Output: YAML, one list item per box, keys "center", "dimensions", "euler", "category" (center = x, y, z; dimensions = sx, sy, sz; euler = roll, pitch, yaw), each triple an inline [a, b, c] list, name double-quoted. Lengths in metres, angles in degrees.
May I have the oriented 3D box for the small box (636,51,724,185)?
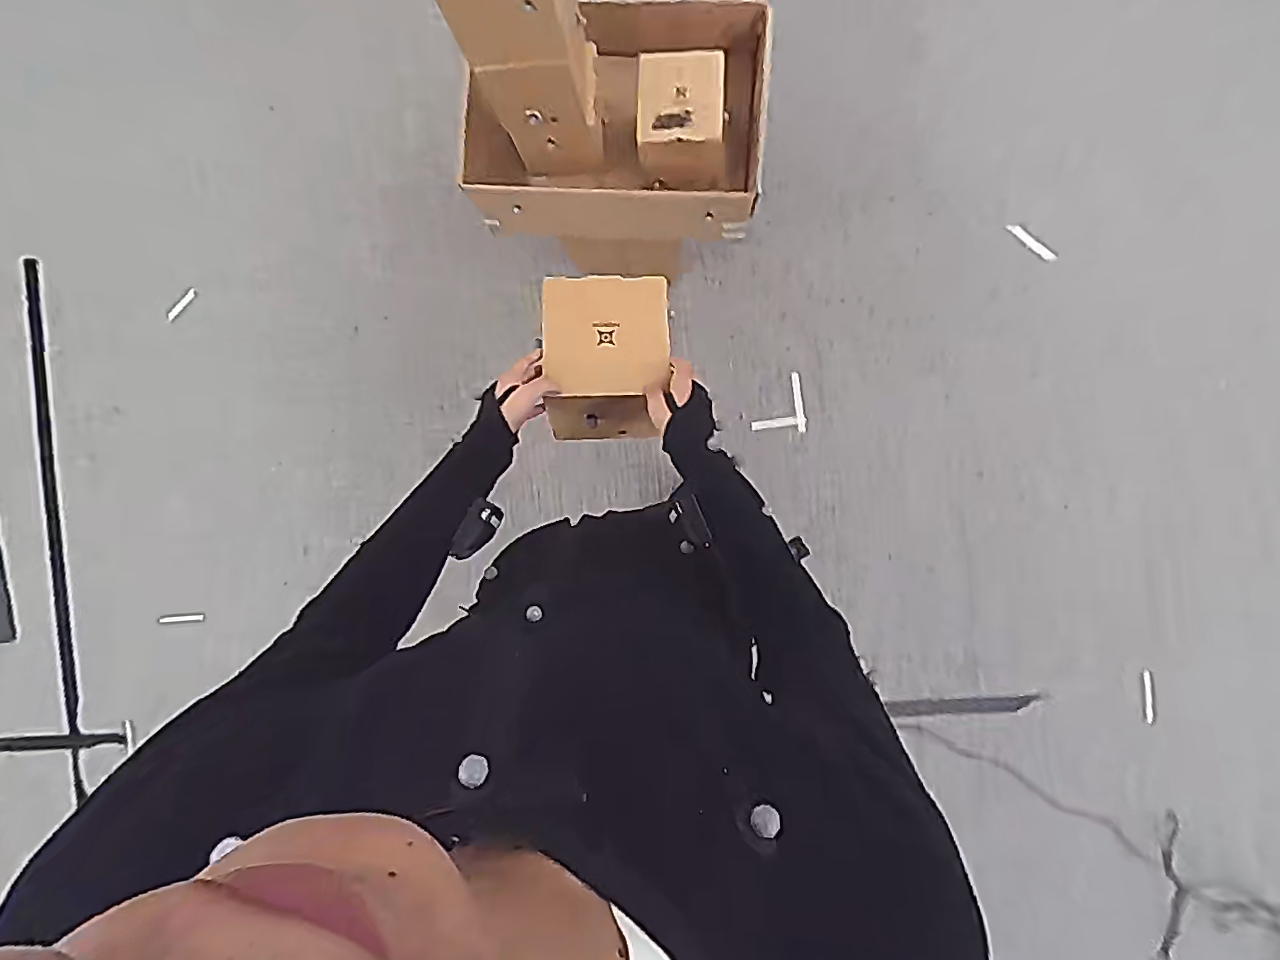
- center: [0.084, -0.735, 1.117]
  dimensions: [0.168, 0.176, 0.179]
  euler: [2, 90, 5]
  category: "small box"

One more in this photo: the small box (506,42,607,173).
- center: [-0.169, -0.772, 1.136]
  dimensions: [0.179, 0.176, 0.168]
  euler: [1, 91, 4]
  category: "small box"

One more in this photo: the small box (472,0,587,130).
- center: [-0.191, -0.773, 0.975]
  dimensions: [0.168, 0.176, 0.179]
  euler: [-1, 90, 5]
  category: "small box"

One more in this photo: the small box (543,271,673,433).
- center: [-0.045, -0.171, 0.771]
  dimensions: [0.168, 0.176, 0.179]
  euler: [-2, 74, -4]
  category: "small box"
